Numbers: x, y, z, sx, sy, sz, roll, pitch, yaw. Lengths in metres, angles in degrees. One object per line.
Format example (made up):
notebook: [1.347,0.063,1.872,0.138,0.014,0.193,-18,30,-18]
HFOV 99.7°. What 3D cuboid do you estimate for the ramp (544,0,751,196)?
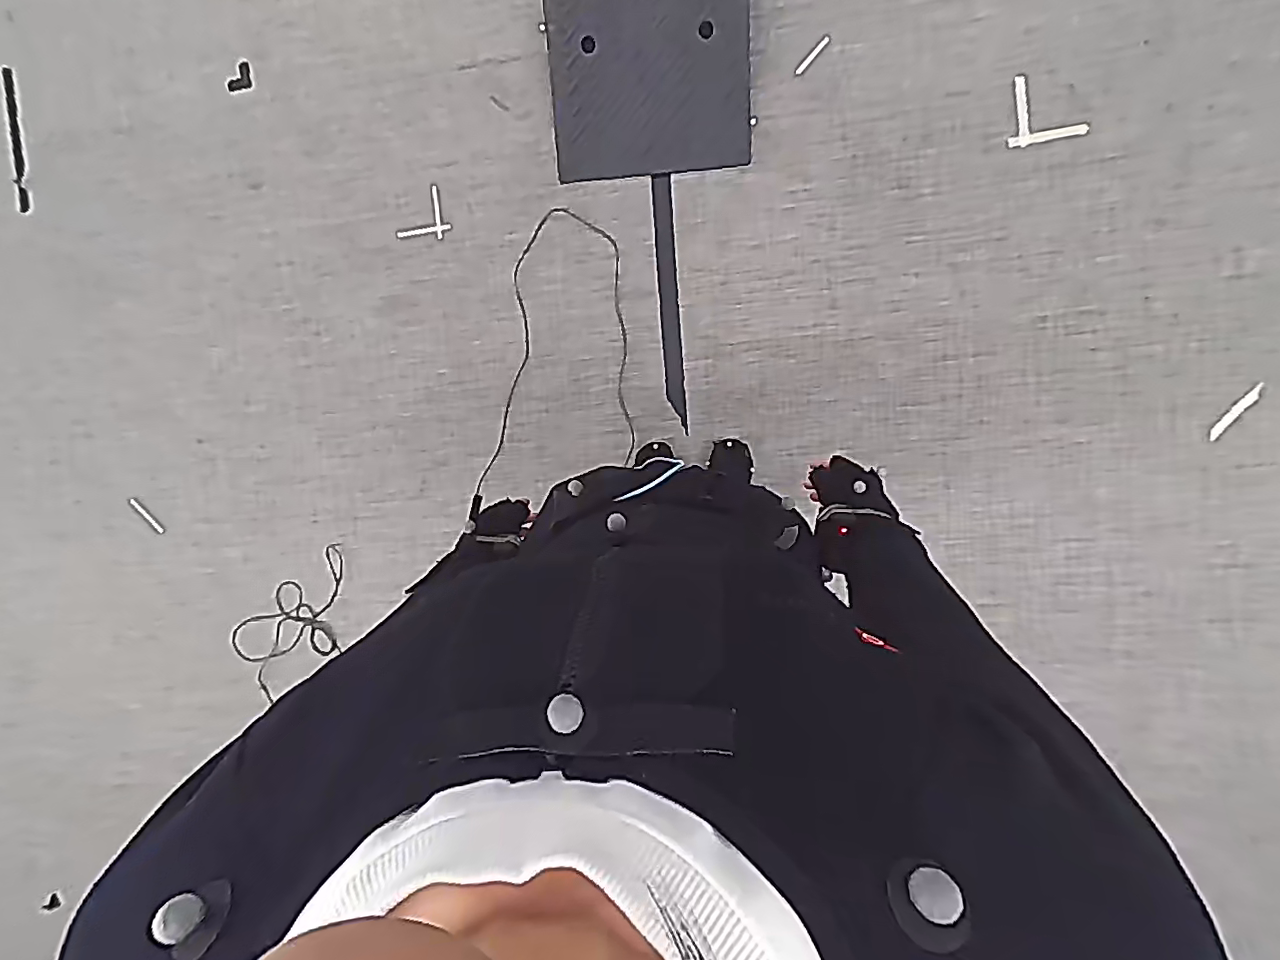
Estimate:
ramp: [0.002,-1.248,1.286,0.509,0.206,0.991,-5,94,6]
